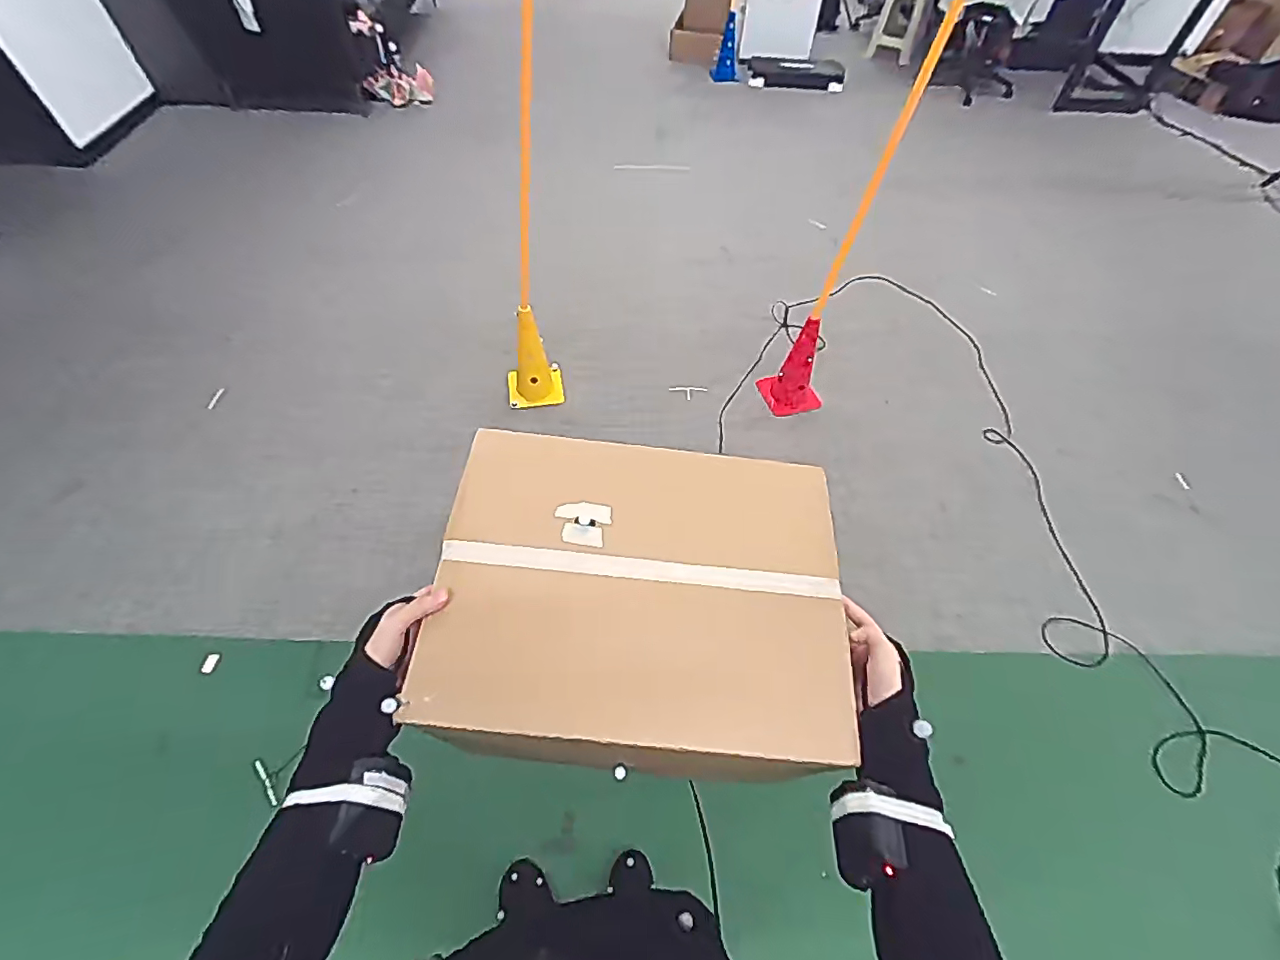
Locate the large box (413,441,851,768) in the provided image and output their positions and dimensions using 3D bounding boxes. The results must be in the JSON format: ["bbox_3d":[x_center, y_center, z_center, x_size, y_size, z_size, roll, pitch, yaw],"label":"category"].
[{"bbox_3d":[-0.004,0.176,0.687,0.408,0.320,0.320,6,58,-1],"label":"large box"}]
